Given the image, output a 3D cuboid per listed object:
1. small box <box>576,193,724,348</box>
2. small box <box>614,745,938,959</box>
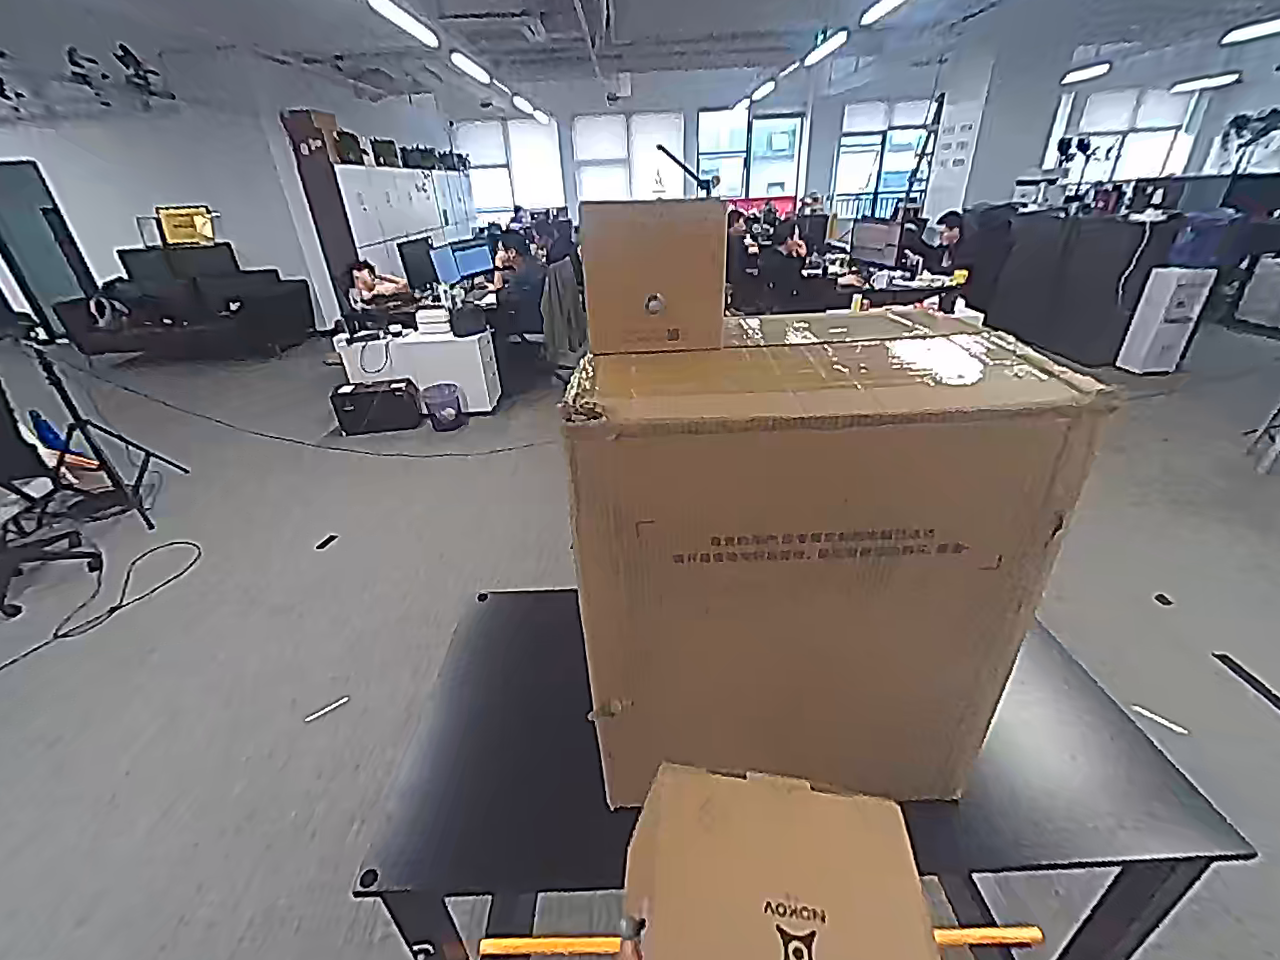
[{"bbox_3d":[0.010,-0.272,0.700,0.168,0.176,0.179,-3,27,-1],"label":"small box"},{"bbox_3d":[0.072,0.307,0.350,0.168,0.176,0.179,9,40,-1],"label":"small box"}]
